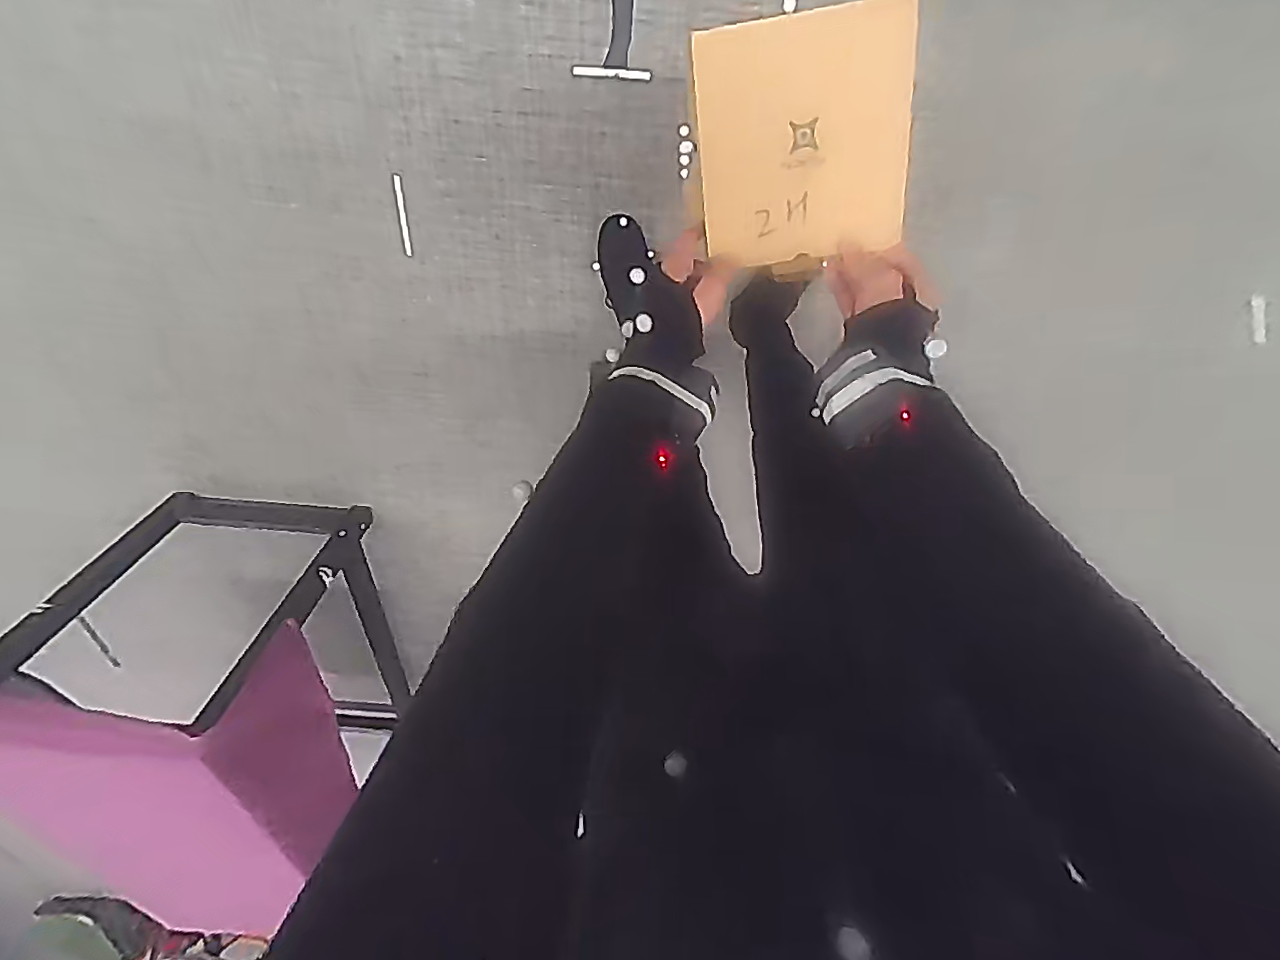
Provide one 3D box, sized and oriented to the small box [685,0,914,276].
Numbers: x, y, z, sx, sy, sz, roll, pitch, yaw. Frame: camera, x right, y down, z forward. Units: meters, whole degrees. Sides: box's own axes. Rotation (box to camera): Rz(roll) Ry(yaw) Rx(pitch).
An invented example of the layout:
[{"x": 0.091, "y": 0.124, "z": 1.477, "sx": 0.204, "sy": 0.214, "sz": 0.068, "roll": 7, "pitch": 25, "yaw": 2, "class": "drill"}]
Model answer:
[{"x": 0.133, "y": -0.313, "z": 0.508, "sx": 0.168, "sy": 0.176, "sz": 0.179, "roll": -6, "pitch": 126, "yaw": 8, "class": "small box"}]
